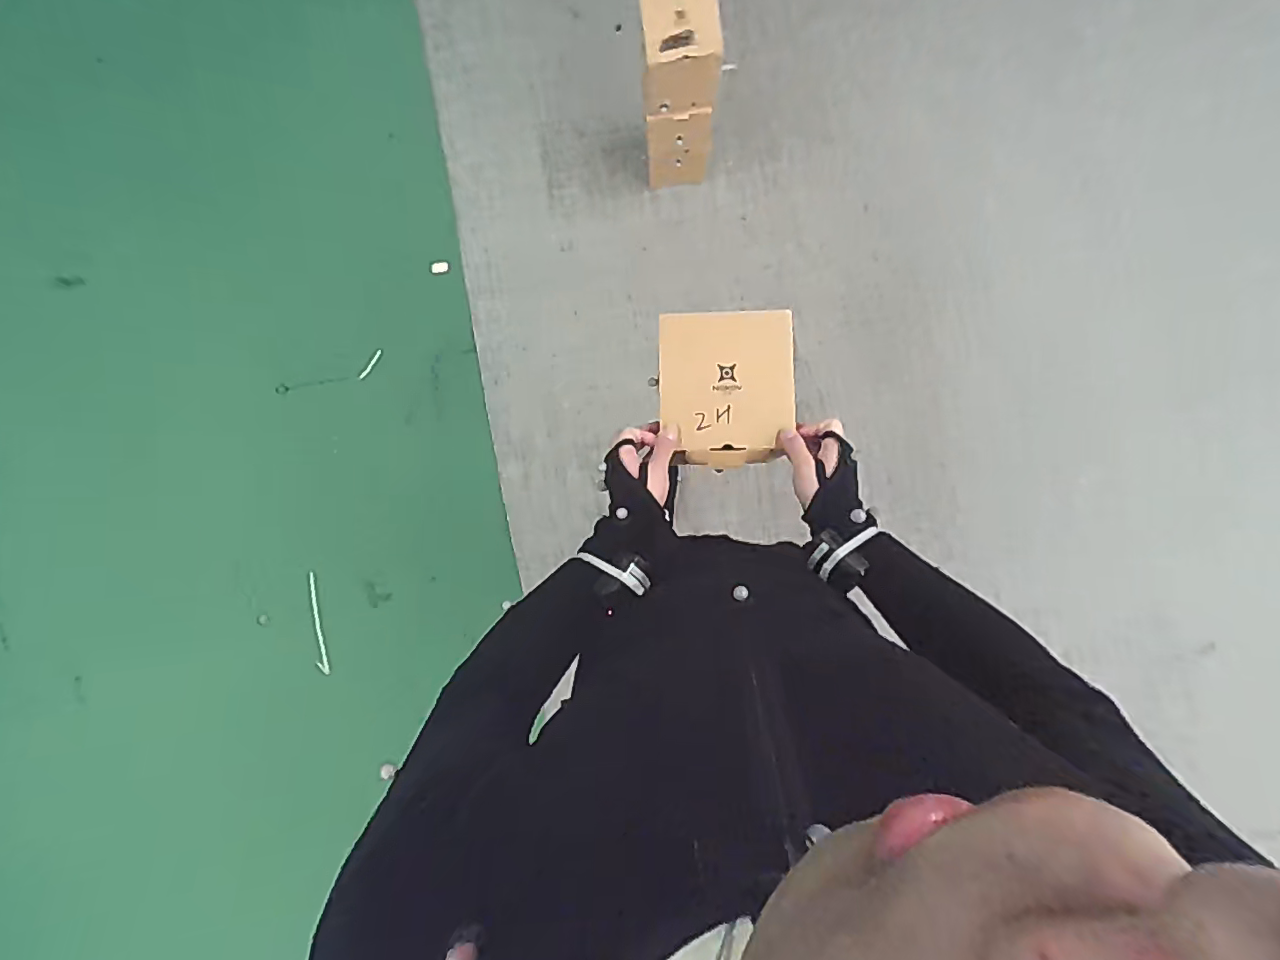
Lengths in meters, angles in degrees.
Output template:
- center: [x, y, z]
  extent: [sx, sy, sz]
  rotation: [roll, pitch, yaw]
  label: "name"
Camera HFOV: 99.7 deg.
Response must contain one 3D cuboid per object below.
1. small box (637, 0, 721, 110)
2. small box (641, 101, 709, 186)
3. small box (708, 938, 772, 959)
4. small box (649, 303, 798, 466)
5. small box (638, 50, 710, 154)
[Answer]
- center: [0.088, -0.980, 1.229]
  extent: [0.168, 0.176, 0.179]
  rotation: [-7, 89, 3]
  label: "small box"
- center: [0.101, -0.975, 1.557]
  extent: [0.179, 0.176, 0.168]
  rotation: [-5, 90, 3]
  label: "small box"
- center: [0.268, 1.308, 1.352]
  extent: [0.168, 0.176, 0.179]
  rotation: [-10, 88, 3]
  label: "small box"
- center: [0.108, -0.120, 0.734]
  extent: [0.168, 0.176, 0.179]
  rotation: [6, 88, 6]
  label: "small box"
- center: [0.088, -0.971, 1.394]
  extent: [0.168, 0.176, 0.179]
  rotation: [-6, 91, 3]
  label: "small box"
